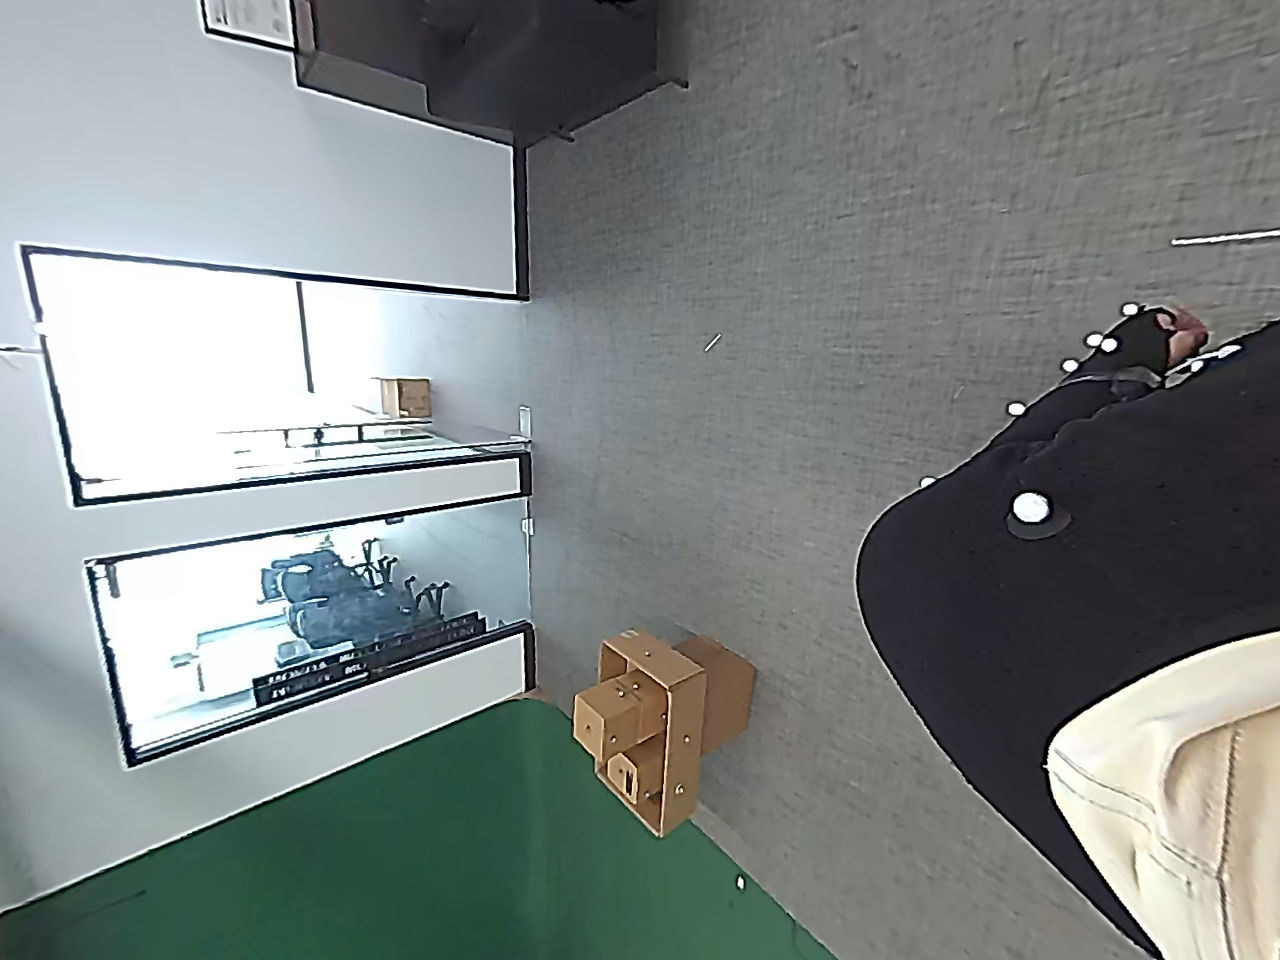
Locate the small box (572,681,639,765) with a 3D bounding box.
[{"bbox_3d":[-0.118,0.839,1.883,0.168,0.176,0.179,19,110,45],"label":"small box"}]
